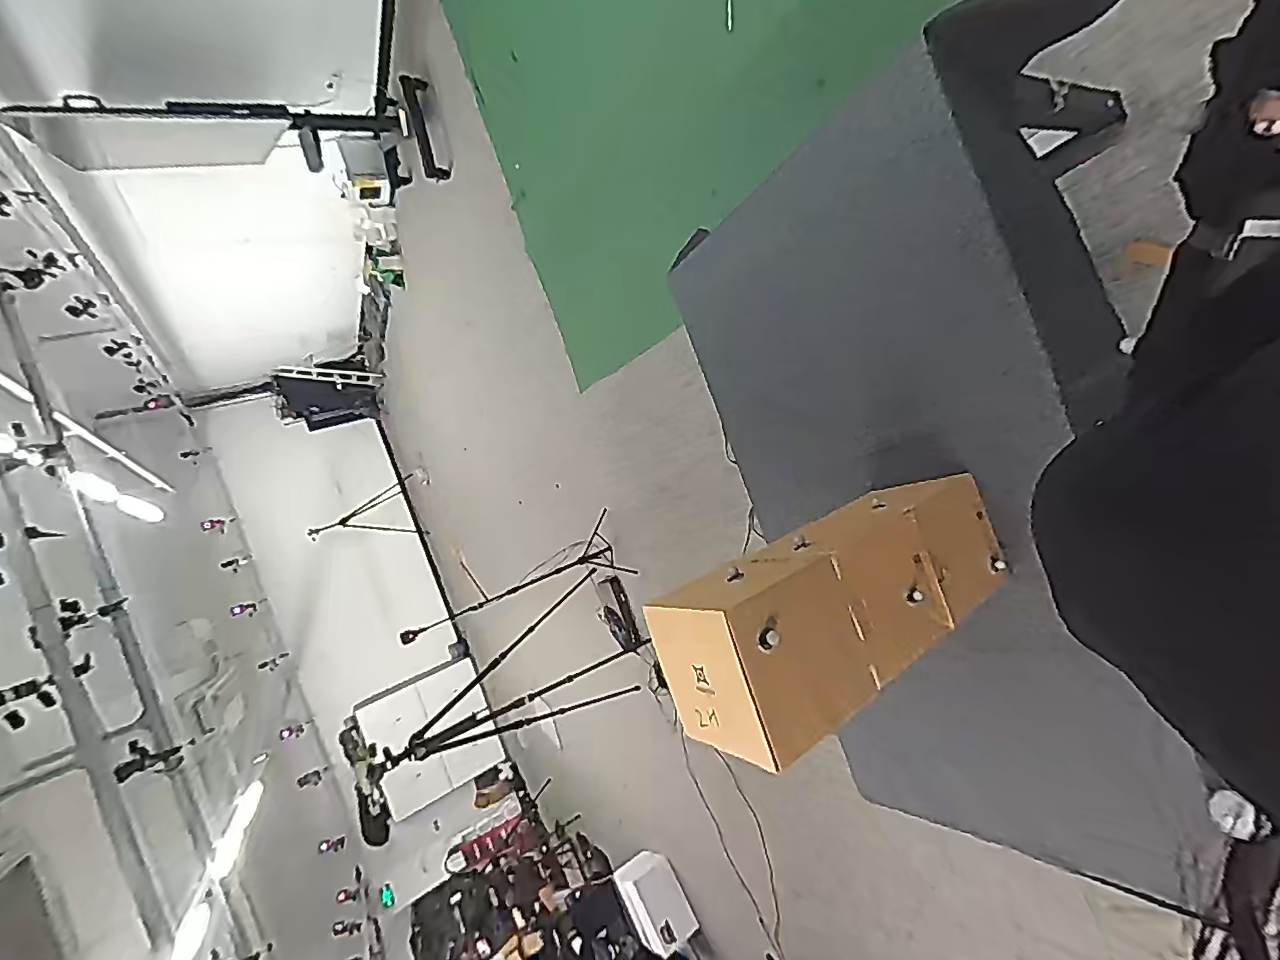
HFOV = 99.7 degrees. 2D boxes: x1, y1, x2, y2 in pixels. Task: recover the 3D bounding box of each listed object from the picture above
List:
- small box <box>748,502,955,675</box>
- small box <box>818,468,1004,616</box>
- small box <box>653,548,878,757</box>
[{"bbox_3d":[0.281,0.140,0.735,0.179,0.176,0.168,-21,89,59],"label":"small box"},{"bbox_3d":[0.412,0.092,0.817,0.179,0.176,0.168,-21,89,61],"label":"small box"},{"bbox_3d":[0.148,0.186,0.649,0.168,0.176,0.179,-18,92,60],"label":"small box"}]
